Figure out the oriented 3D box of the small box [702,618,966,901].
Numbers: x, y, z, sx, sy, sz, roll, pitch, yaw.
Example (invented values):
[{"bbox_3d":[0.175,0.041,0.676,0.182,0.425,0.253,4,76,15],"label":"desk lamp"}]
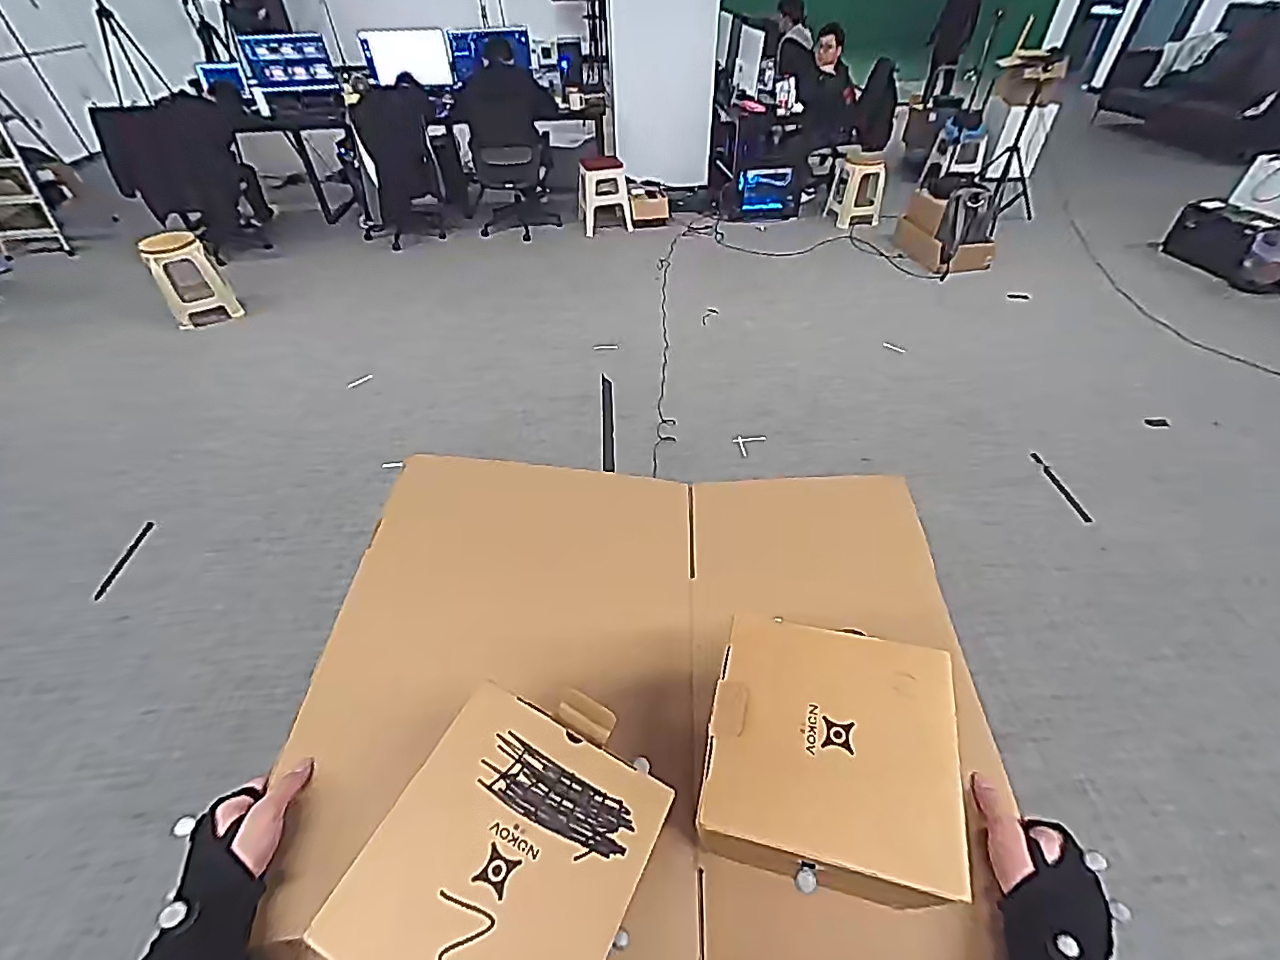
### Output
[{"bbox_3d":[0.160,0.246,0.478,0.179,0.176,0.168,6,53,16],"label":"small box"}]
